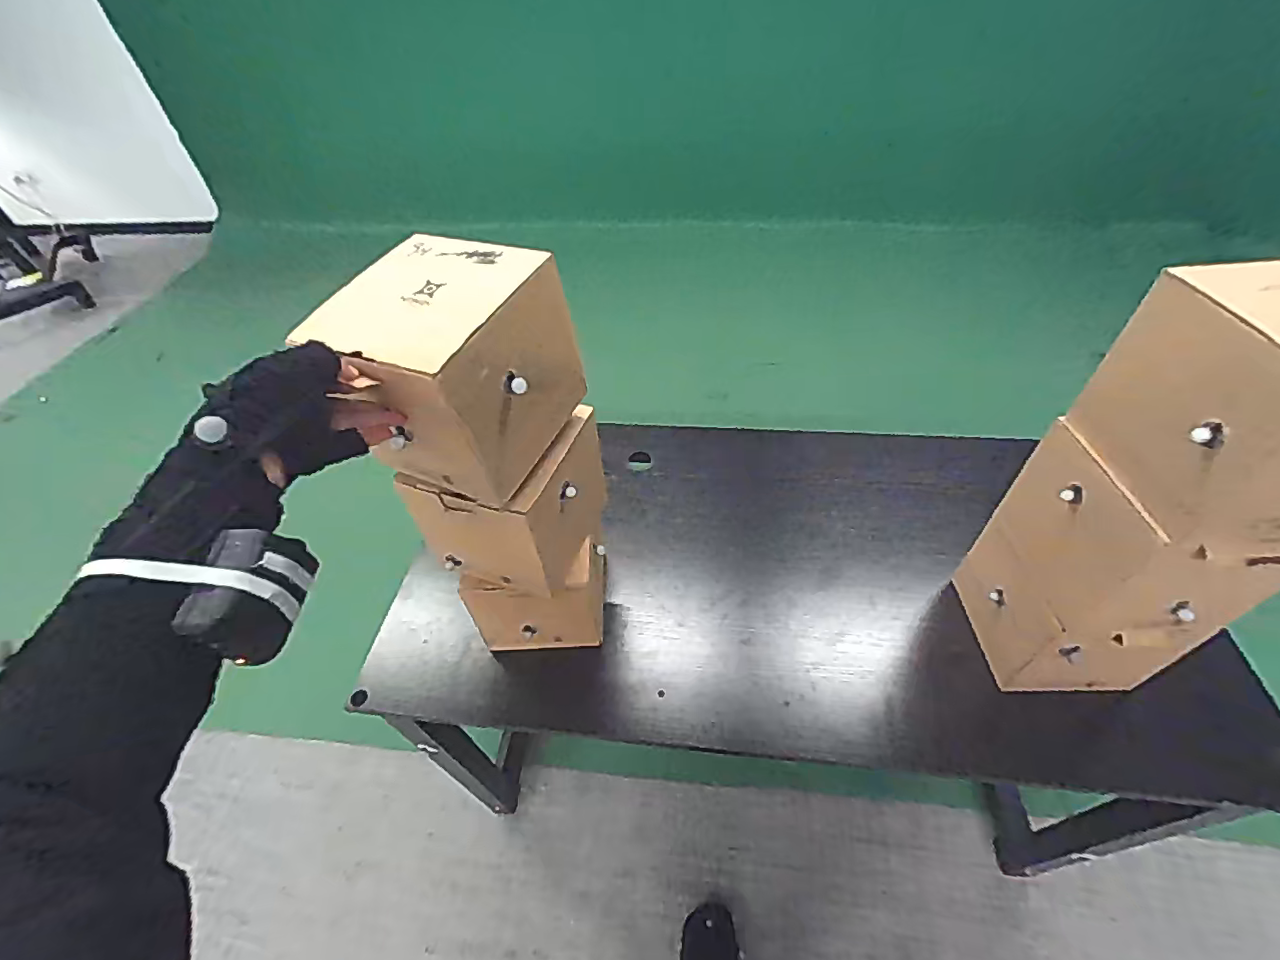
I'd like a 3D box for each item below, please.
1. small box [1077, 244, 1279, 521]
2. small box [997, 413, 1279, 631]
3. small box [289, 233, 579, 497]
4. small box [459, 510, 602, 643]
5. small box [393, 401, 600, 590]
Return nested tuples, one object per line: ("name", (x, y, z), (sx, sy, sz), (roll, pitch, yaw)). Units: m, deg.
("small box", (0.531, -0.077, 0.451), (0.168, 0.176, 0.179), (-3, 47, 1))
("small box", (0.533, 0.043, 0.585), (0.168, 0.176, 0.179), (-3, 48, 2))
("small box", (-0.177, -0.109, 0.529), (0.168, 0.176, 0.179), (18, 57, 20))
("small box", (-0.145, 0.118, 0.787), (0.168, 0.176, 0.179), (-3, 49, 0))
("small box", (-0.157, 0.009, 0.665), (0.168, 0.176, 0.179), (14, 50, 14))
